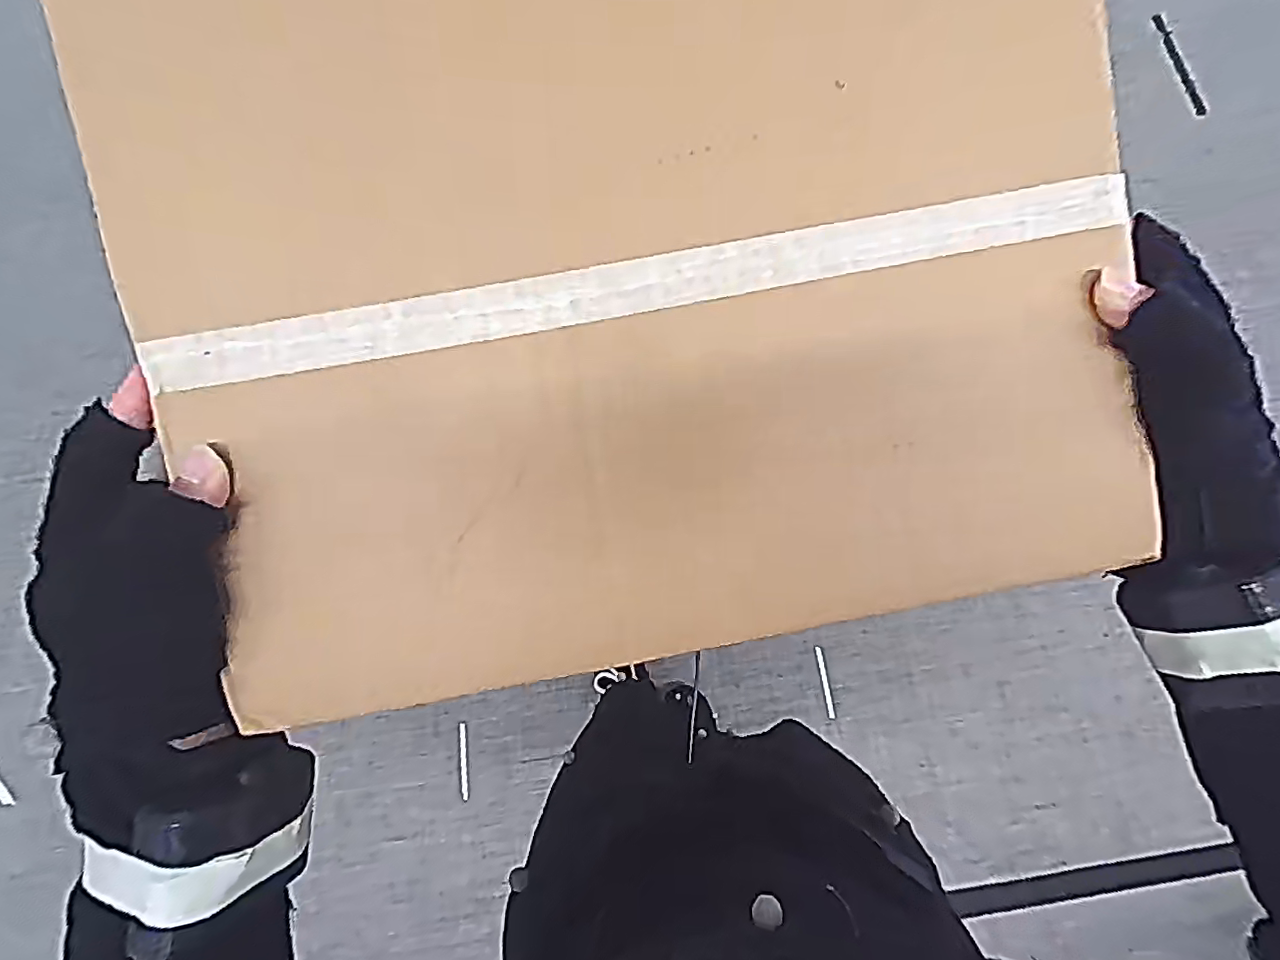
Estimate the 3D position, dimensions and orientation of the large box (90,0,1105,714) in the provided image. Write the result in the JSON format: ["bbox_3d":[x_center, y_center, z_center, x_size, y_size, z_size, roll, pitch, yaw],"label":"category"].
[{"bbox_3d":[-0.005,-0.094,0.383,0.408,0.320,0.320,-10,94,-2],"label":"large box"}]
